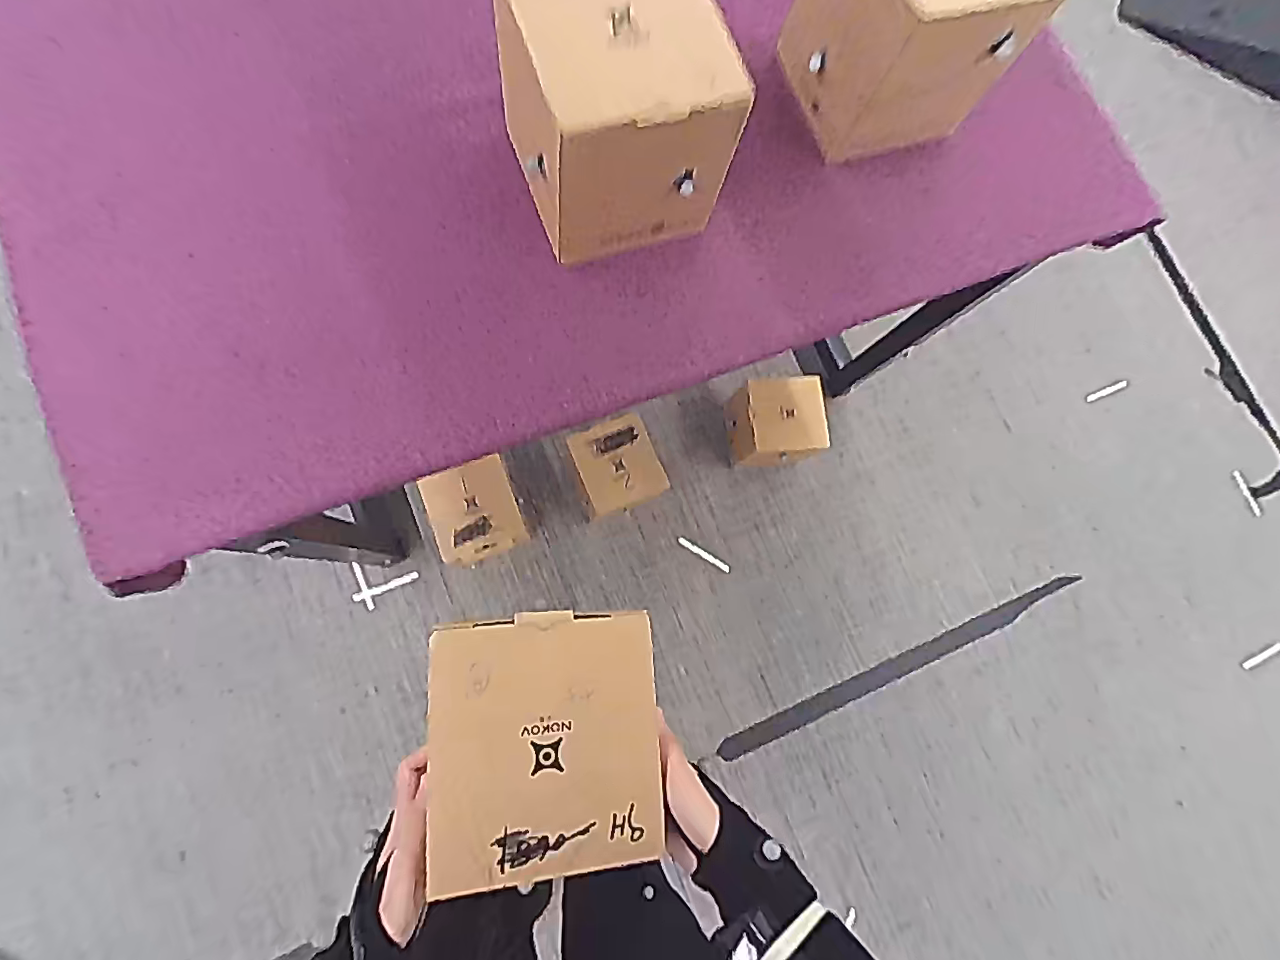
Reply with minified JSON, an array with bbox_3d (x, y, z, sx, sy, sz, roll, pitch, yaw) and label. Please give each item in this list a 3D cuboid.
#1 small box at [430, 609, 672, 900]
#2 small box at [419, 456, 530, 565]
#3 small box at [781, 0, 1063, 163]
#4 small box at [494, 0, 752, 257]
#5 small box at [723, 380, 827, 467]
[{"bbox_3d":[-0.078,0.205,0.460,0.168,0.176,0.179,0,77,-13],"label":"small box"},{"bbox_3d":[-0.336,0.071,1.128,0.168,0.176,0.179,-20,81,-12],"label":"small box"},{"bbox_3d":[0.283,-0.483,0.581,0.179,0.176,0.168,-19,82,-11],"label":"small box"},{"bbox_3d":[-0.024,-0.335,0.506,0.168,0.176,0.179,-20,80,-13],"label":"small box"},{"bbox_3d":[0.311,-0.128,1.269,0.179,0.176,0.168,-4,80,-9],"label":"small box"}]
